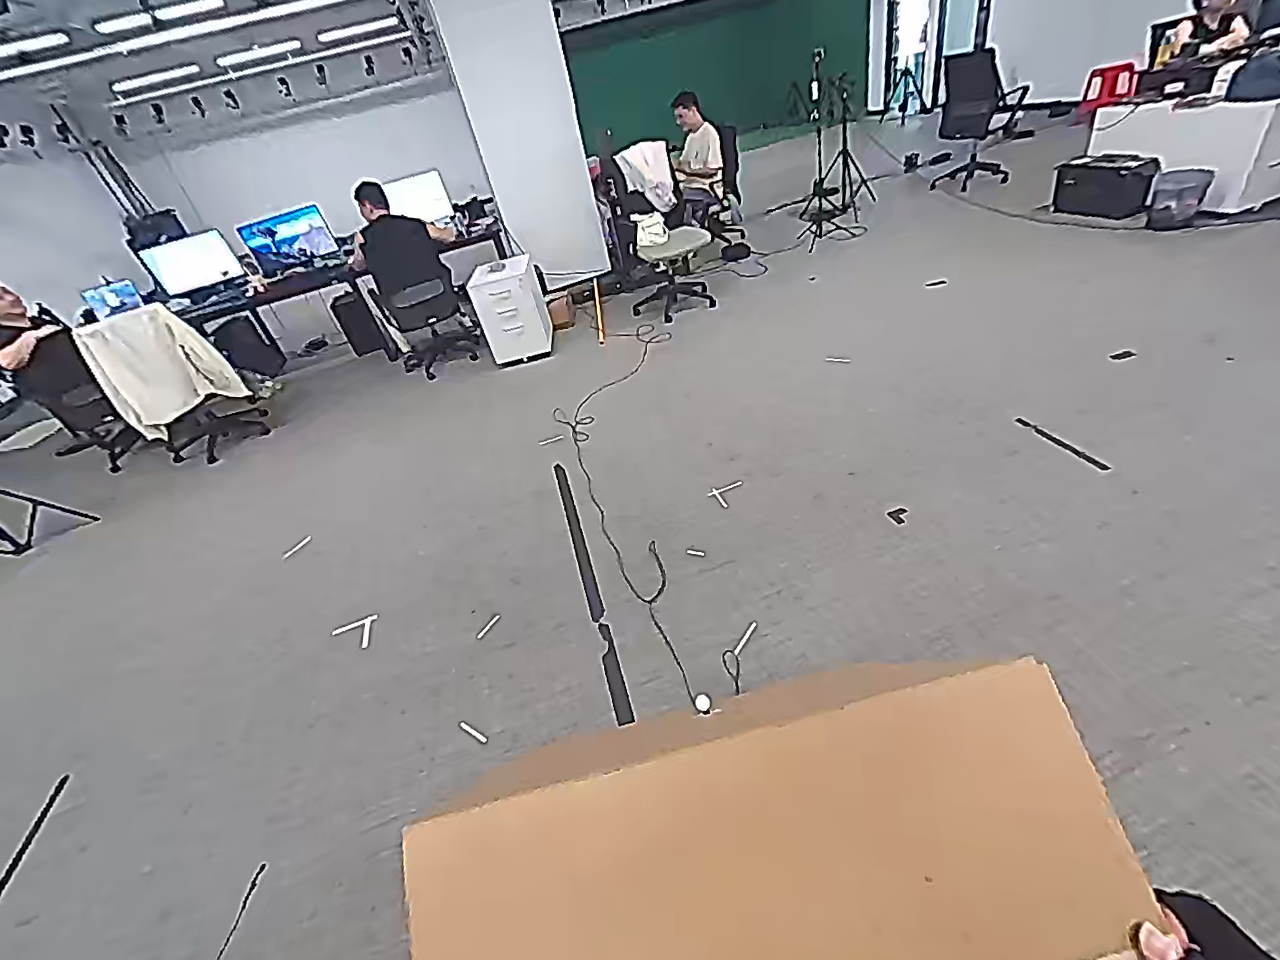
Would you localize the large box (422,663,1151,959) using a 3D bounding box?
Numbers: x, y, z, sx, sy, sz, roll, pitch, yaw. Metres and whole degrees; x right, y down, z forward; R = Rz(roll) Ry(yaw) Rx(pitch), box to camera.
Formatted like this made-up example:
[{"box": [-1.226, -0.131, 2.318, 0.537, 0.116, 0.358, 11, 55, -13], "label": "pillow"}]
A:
[{"box": [0.102, 0.357, 0.437, 0.408, 0.320, 0.320, -15, 71, -2], "label": "large box"}]
